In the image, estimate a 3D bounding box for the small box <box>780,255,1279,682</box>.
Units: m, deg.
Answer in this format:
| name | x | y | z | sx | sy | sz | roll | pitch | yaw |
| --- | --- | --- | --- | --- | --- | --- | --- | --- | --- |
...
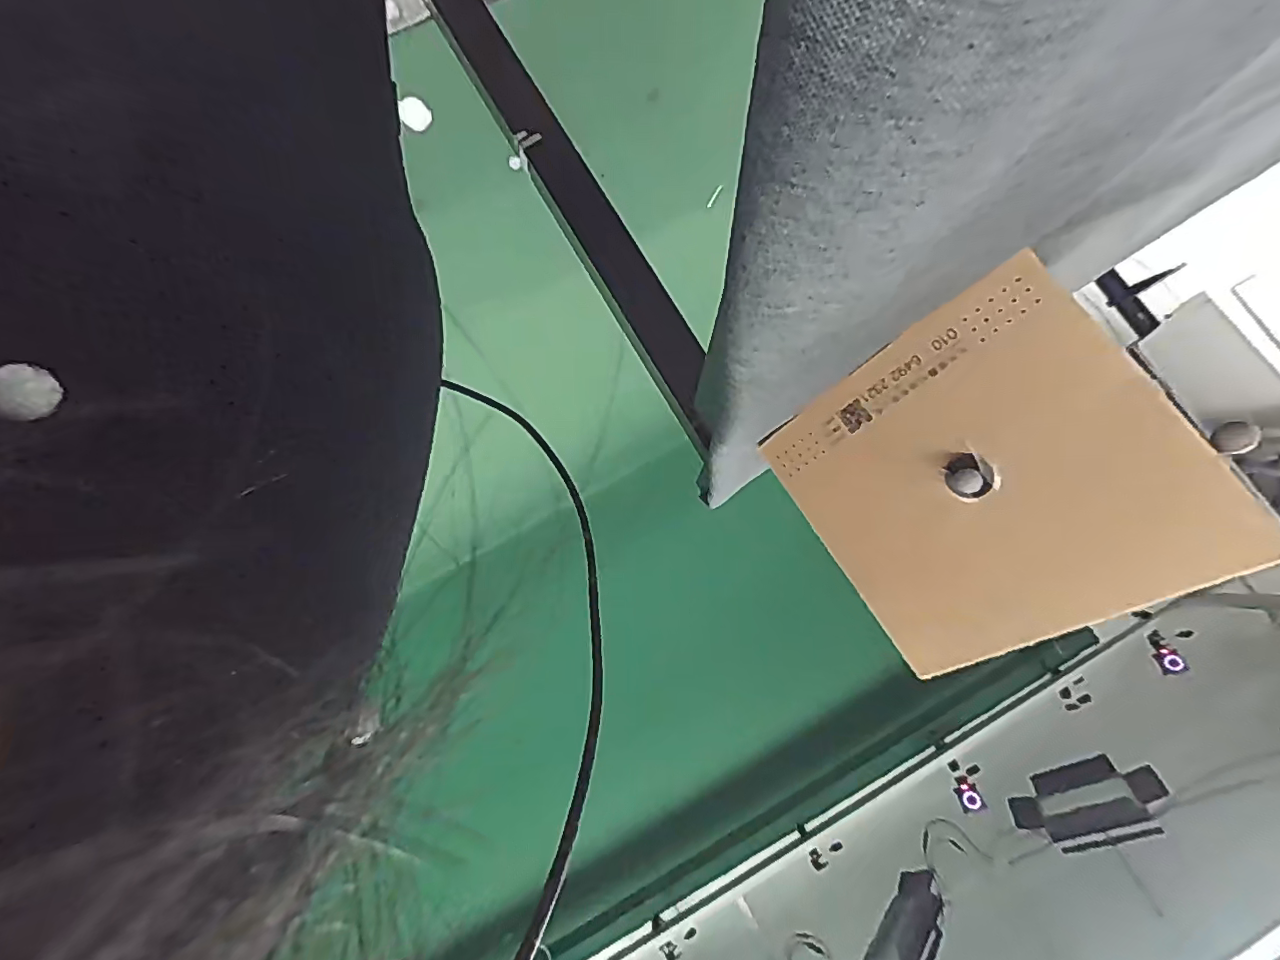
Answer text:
| name | x | y | z | sx | sy | sz | roll | pitch | yaw |
| --- | --- | --- | --- | --- | --- | --- | --- | --- | --- |
| small box | 0.218 | -0.013 | 0.336 | 0.179 | 0.176 | 0.168 | -20 | 164 | -50 |
